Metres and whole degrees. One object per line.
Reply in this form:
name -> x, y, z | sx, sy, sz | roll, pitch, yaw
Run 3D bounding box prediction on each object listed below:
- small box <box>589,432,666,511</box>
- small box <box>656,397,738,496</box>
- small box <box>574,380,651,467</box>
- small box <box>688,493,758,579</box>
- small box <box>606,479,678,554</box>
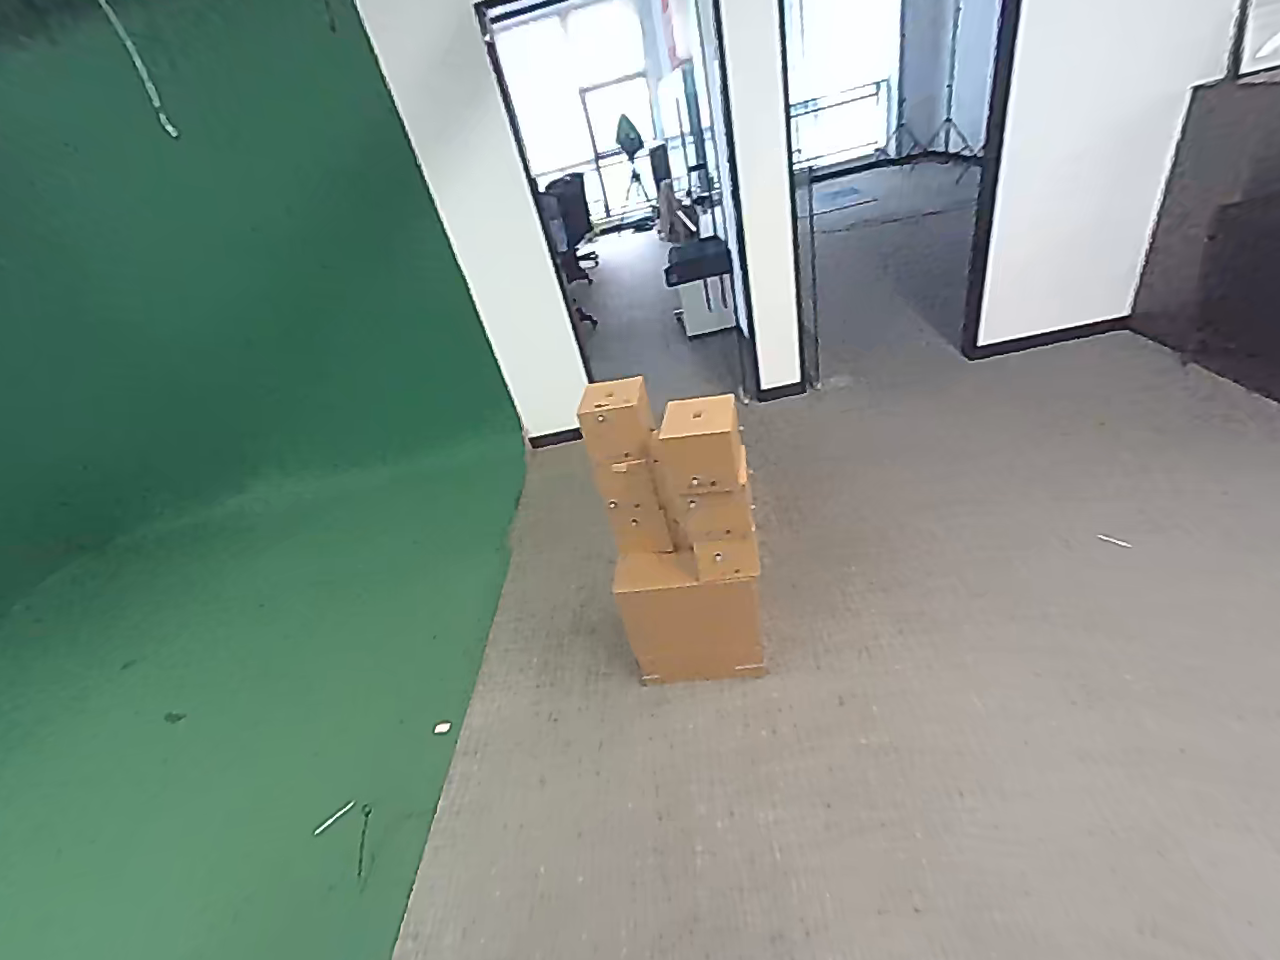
small box -> -0.029, -0.019, 1.584 | 0.168, 0.176, 0.179 | -3, 34, 17
small box -> 0.144, -0.080, 1.307 | 0.168, 0.176, 0.179 | -5, 35, 15
small box -> -0.068, -0.156, 1.501 | 0.168, 0.176, 0.179 | -8, 33, 12
small box -> 0.231, 0.163, 1.512 | 0.168, 0.176, 0.179 | -9, 34, 9
small box -> 0.011, 0.115, 1.671 | 0.179, 0.176, 0.168 | -4, 35, 15
